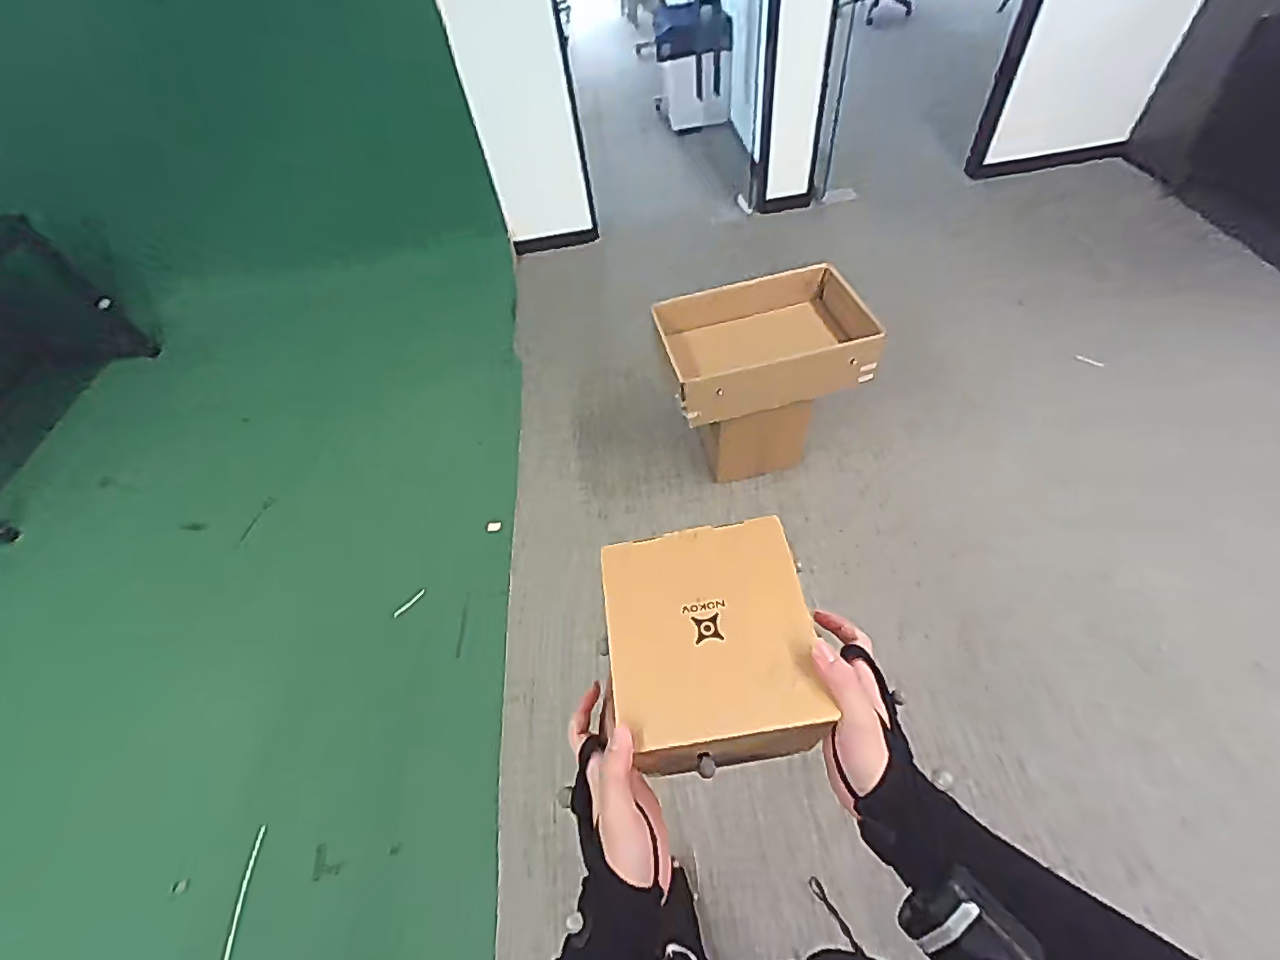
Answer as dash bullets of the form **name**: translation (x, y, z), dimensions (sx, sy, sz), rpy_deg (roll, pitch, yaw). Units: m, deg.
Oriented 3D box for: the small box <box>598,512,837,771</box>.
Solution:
- **small box**: translation (0.063, 0.155, 0.493), dimensions (0.168, 0.176, 0.179), rpy_deg (-10, 54, 2)
